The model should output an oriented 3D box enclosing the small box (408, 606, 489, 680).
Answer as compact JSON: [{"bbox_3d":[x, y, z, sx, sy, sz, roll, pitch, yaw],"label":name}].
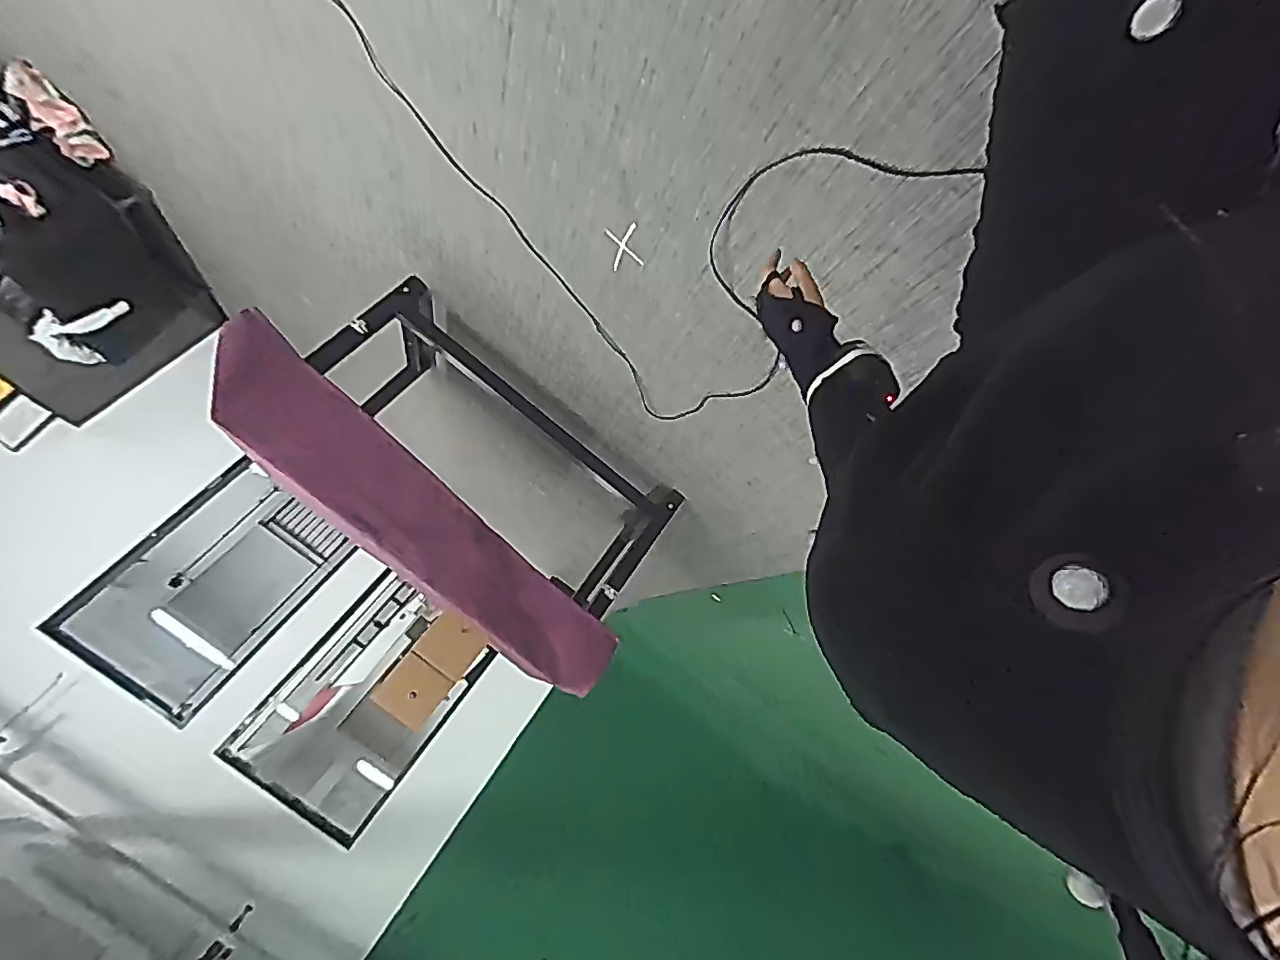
[{"bbox_3d":[-0.618,0.525,1.753,0.179,0.176,0.168,39,155,-2],"label":"small box"}]

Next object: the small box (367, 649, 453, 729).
[{"bbox_3d":[-0.710,0.642,1.684,0.179,0.176,0.168,38,155,-3],"label":"small box"}]
